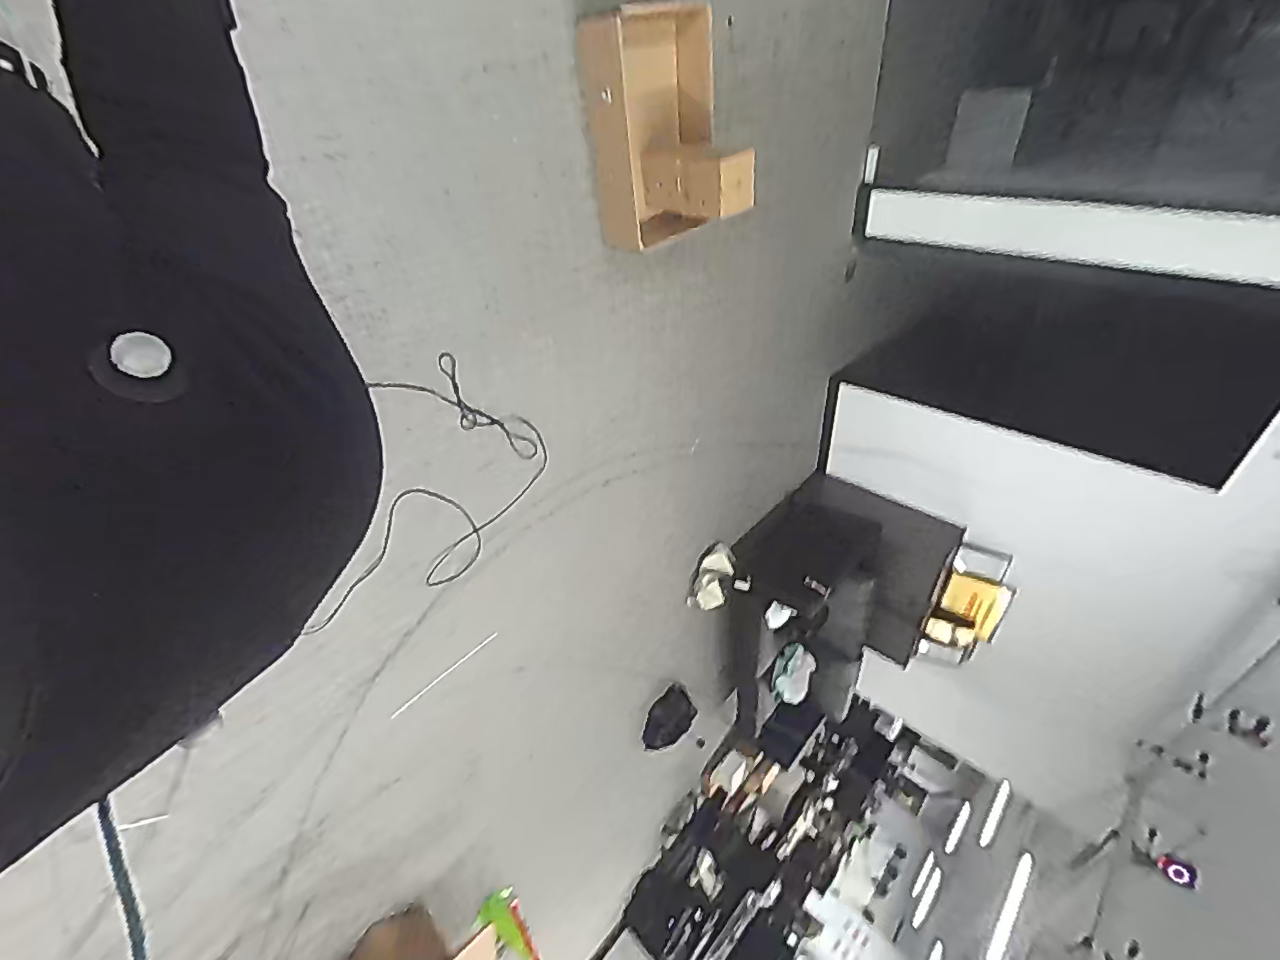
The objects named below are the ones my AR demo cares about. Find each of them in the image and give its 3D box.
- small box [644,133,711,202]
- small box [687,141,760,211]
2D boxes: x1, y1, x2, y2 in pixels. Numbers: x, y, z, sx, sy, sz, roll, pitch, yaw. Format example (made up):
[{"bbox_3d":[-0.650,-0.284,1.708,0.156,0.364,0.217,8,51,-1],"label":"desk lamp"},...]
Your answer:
[{"bbox_3d":[0.129,-1.050,1.821,0.179,0.176,0.168,-41,138,-28],"label":"small box"},{"bbox_3d":[0.263,-0.972,1.725,0.179,0.176,0.168,-37,137,-31],"label":"small box"}]
